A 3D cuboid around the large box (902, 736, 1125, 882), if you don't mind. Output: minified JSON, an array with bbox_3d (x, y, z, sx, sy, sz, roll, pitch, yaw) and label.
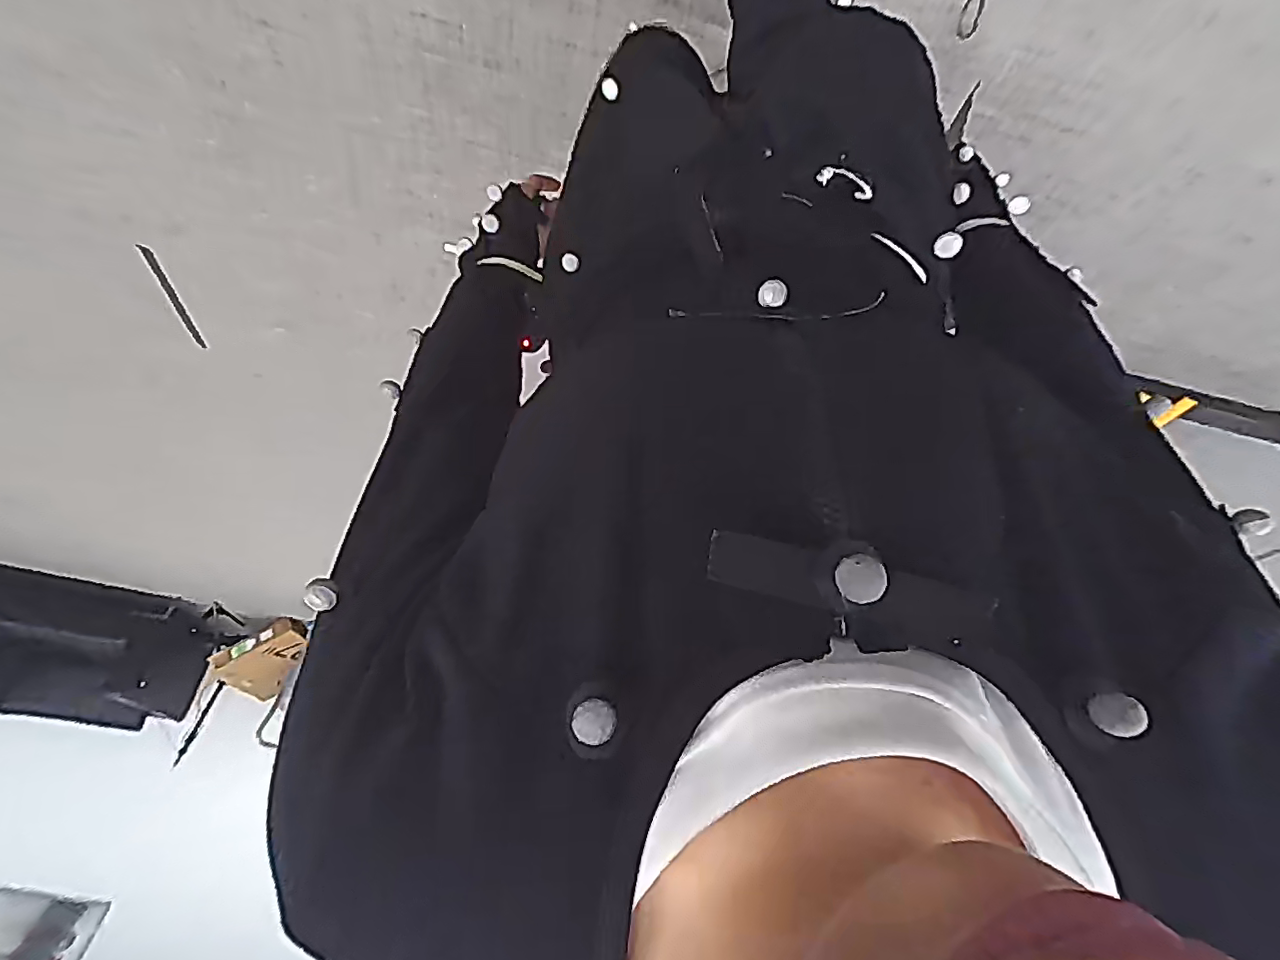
[{"bbox_3d":[1.080,0.984,1.622,0.408,0.320,0.320,12,144,-6],"label":"large box"}]
